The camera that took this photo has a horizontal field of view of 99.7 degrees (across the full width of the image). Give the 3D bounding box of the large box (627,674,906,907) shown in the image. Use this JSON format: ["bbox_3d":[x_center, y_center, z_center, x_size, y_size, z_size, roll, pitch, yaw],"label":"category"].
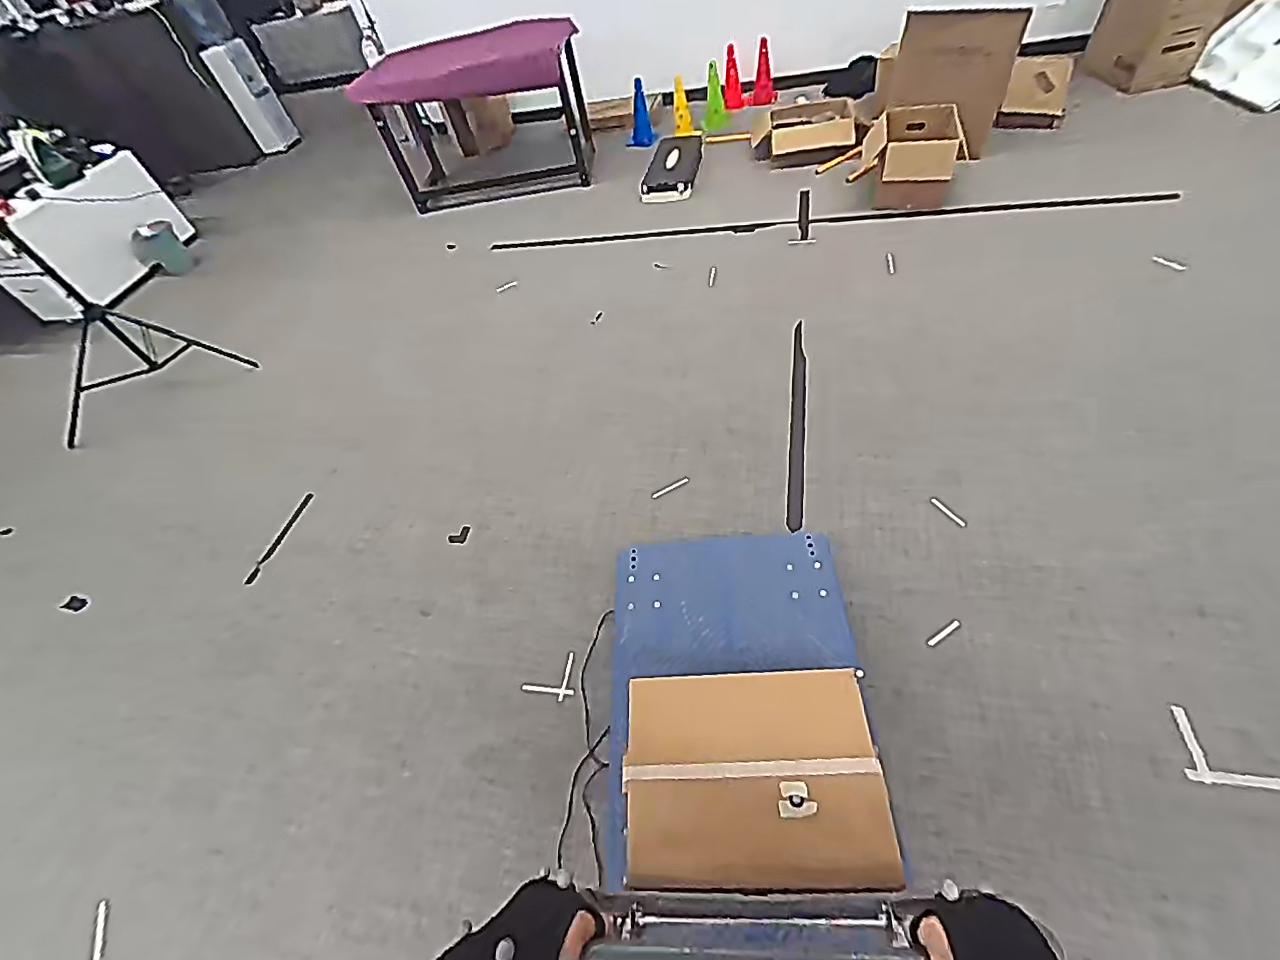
[{"bbox_3d":[0.197,0.571,0.980,0.408,0.320,0.320,-6,51,7],"label":"large box"}]
